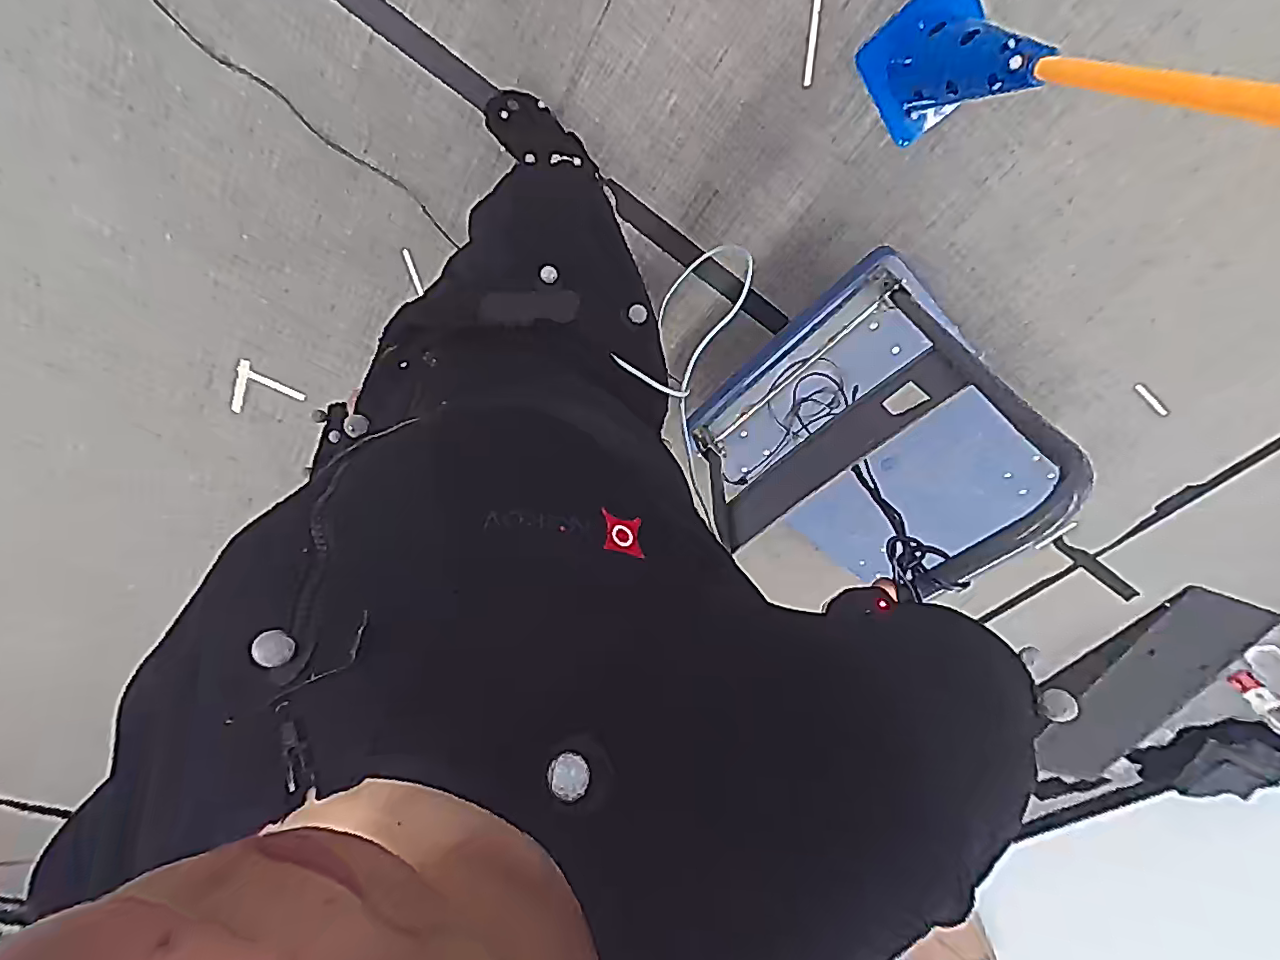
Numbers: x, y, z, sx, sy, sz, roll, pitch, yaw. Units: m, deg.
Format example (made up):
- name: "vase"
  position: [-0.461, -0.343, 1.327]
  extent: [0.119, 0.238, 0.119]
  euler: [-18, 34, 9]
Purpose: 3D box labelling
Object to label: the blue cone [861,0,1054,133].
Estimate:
- name: "blue cone"
  position: [0.510, -0.653, 0.827]
  extent: [0.193, 0.380, 0.192]
  euler: [-33, 120, 23]
